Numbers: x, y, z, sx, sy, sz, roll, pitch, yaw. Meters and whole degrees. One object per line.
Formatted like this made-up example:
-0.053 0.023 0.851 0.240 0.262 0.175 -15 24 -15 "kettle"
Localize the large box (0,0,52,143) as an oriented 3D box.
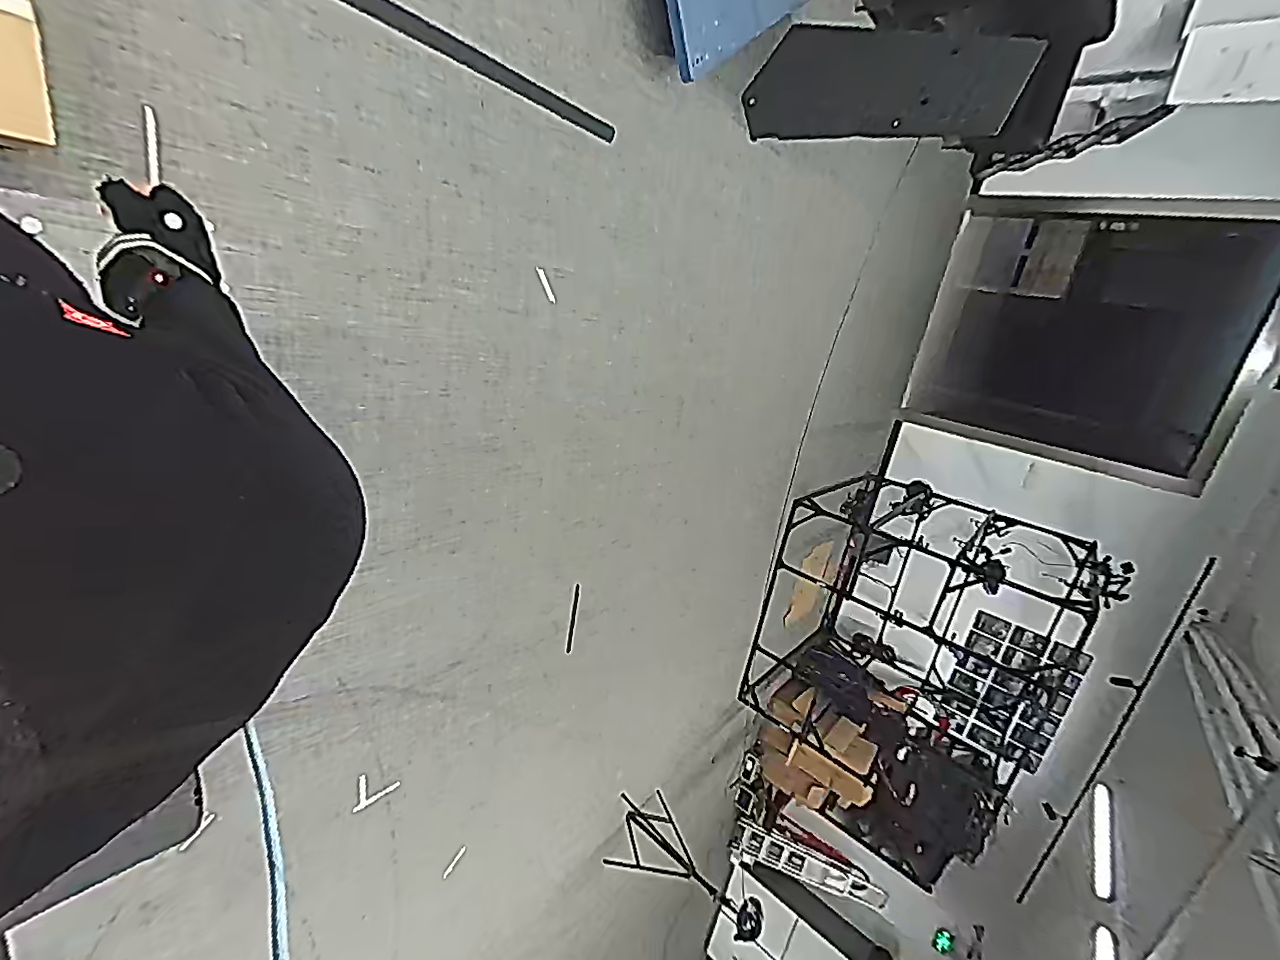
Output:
-1.041 -0.632 0.639 0.408 0.320 0.320 -15 121 -51 "large box"
